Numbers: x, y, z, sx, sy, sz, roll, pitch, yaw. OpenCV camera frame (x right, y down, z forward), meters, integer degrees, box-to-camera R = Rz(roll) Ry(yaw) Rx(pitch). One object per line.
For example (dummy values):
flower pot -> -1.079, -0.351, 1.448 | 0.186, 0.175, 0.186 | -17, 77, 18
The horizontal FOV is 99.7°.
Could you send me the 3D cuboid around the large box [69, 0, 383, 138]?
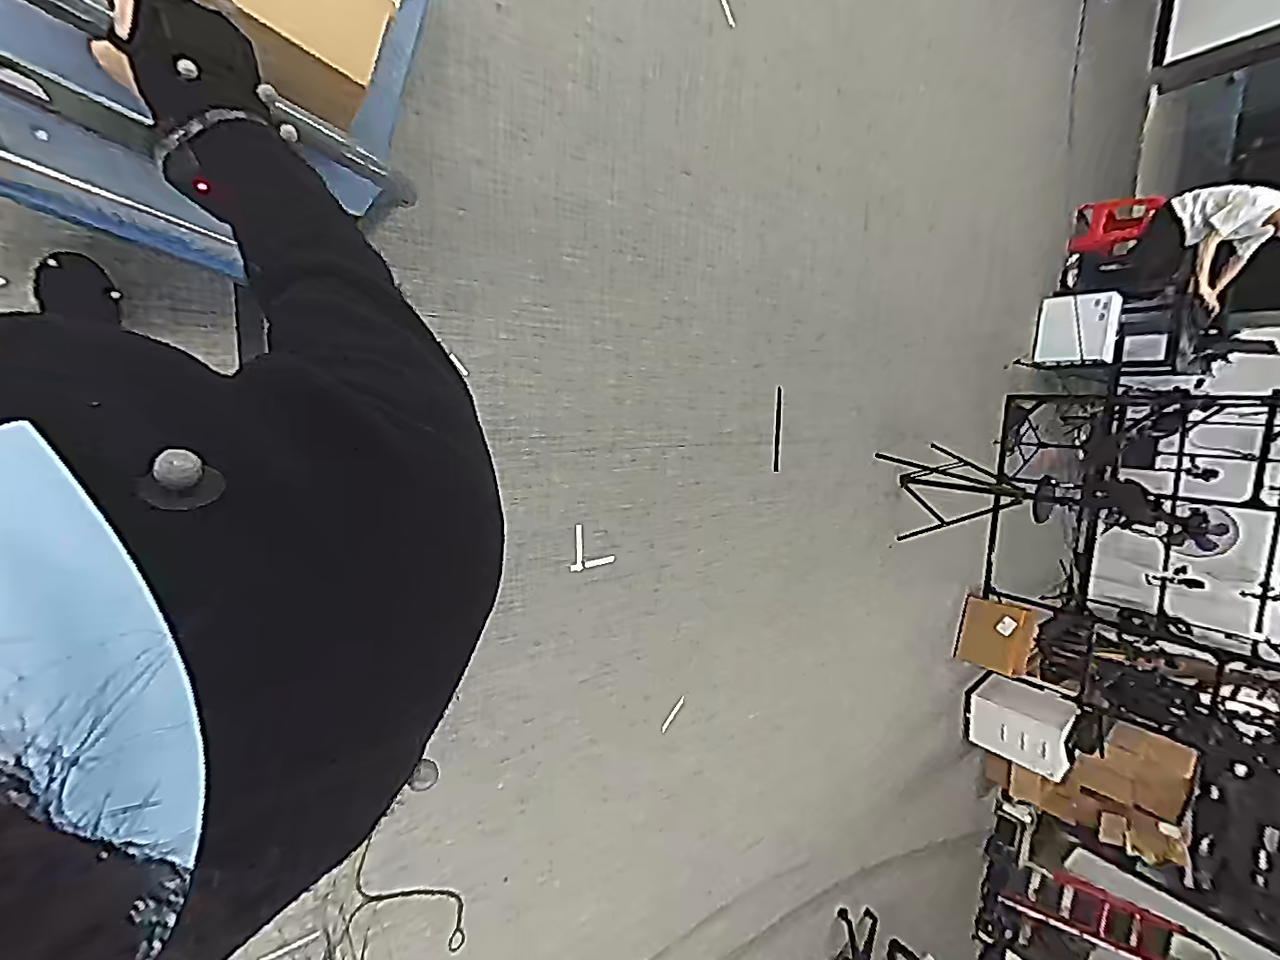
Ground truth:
large box -> -0.649, -0.854, 0.869 | 0.408, 0.320, 0.320 | 16, 87, -38
